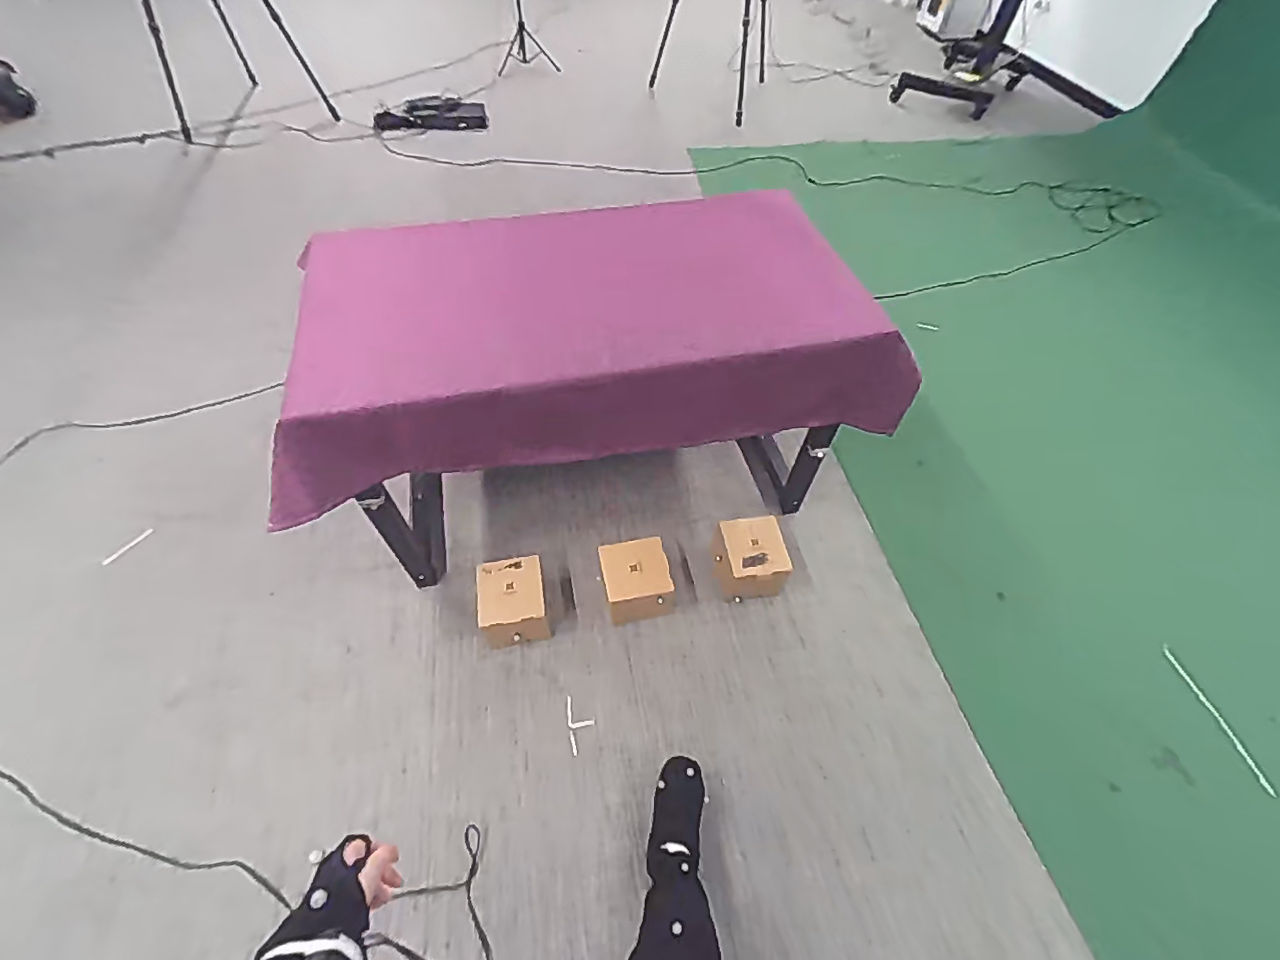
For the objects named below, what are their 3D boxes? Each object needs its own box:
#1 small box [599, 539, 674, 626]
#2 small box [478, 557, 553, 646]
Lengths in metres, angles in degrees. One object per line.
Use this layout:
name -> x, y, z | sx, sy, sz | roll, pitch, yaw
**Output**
small box -> -0.013, 0.286, 1.492 | 0.179, 0.176, 0.168 | -9, 55, -9
small box -> -0.331, 0.331, 1.447 | 0.168, 0.176, 0.179 | -8, 56, -6
